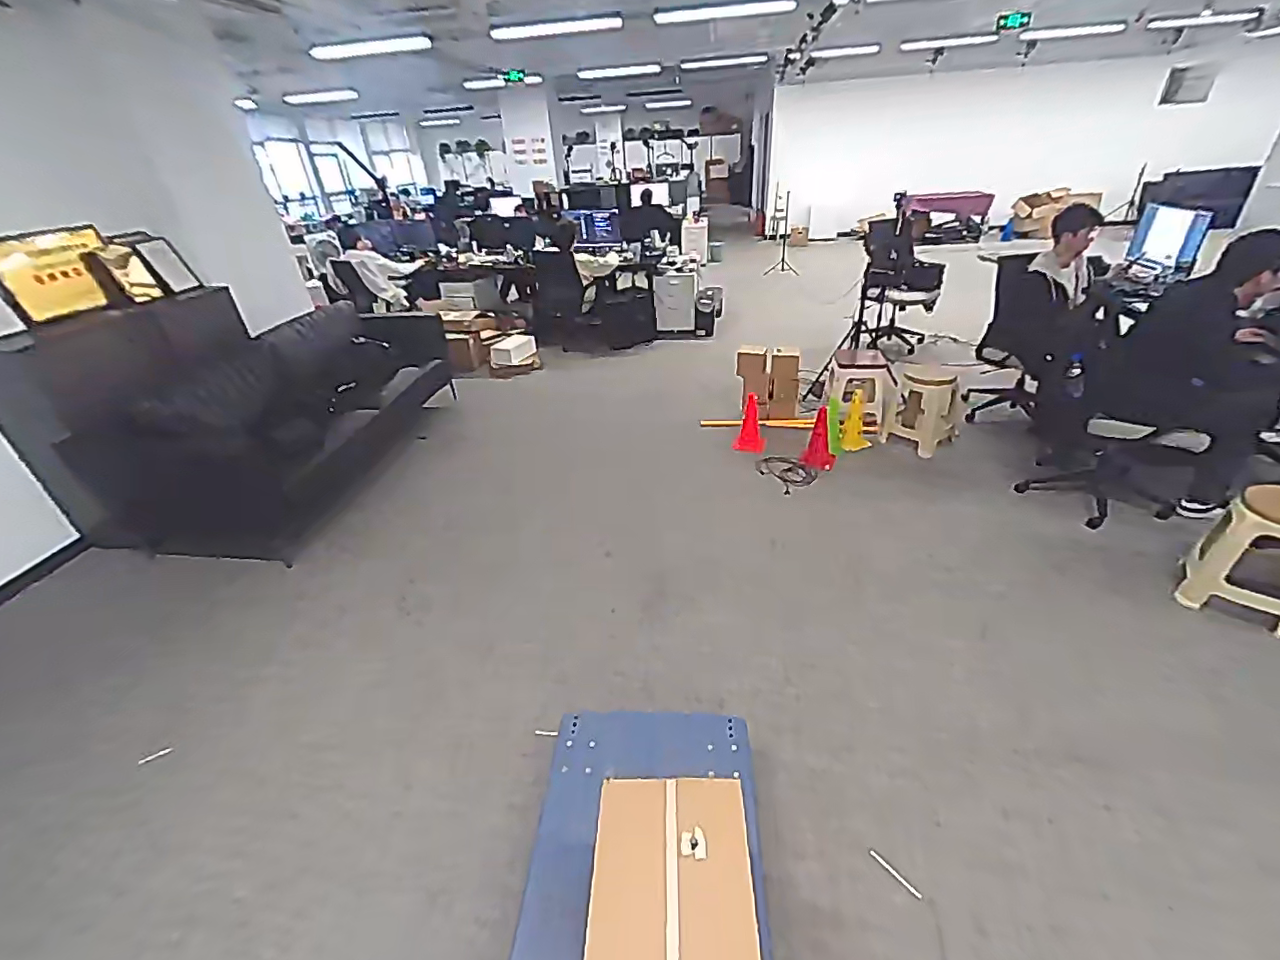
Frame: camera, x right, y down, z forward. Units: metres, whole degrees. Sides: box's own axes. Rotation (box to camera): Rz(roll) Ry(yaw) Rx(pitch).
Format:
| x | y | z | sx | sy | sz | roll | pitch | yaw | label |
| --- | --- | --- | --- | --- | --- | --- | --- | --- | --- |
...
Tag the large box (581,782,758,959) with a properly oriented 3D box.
| x | y | z | sx | sy | sz | roll | pitch | yaw | label |
| --- | --- | --- | --- | --- | --- | --- | --- | --- | --- |
| 0.063 | 0.907 | 1.113 | 0.320 | 0.320 | 0.408 | -1 | 31 | 4 | large box |
